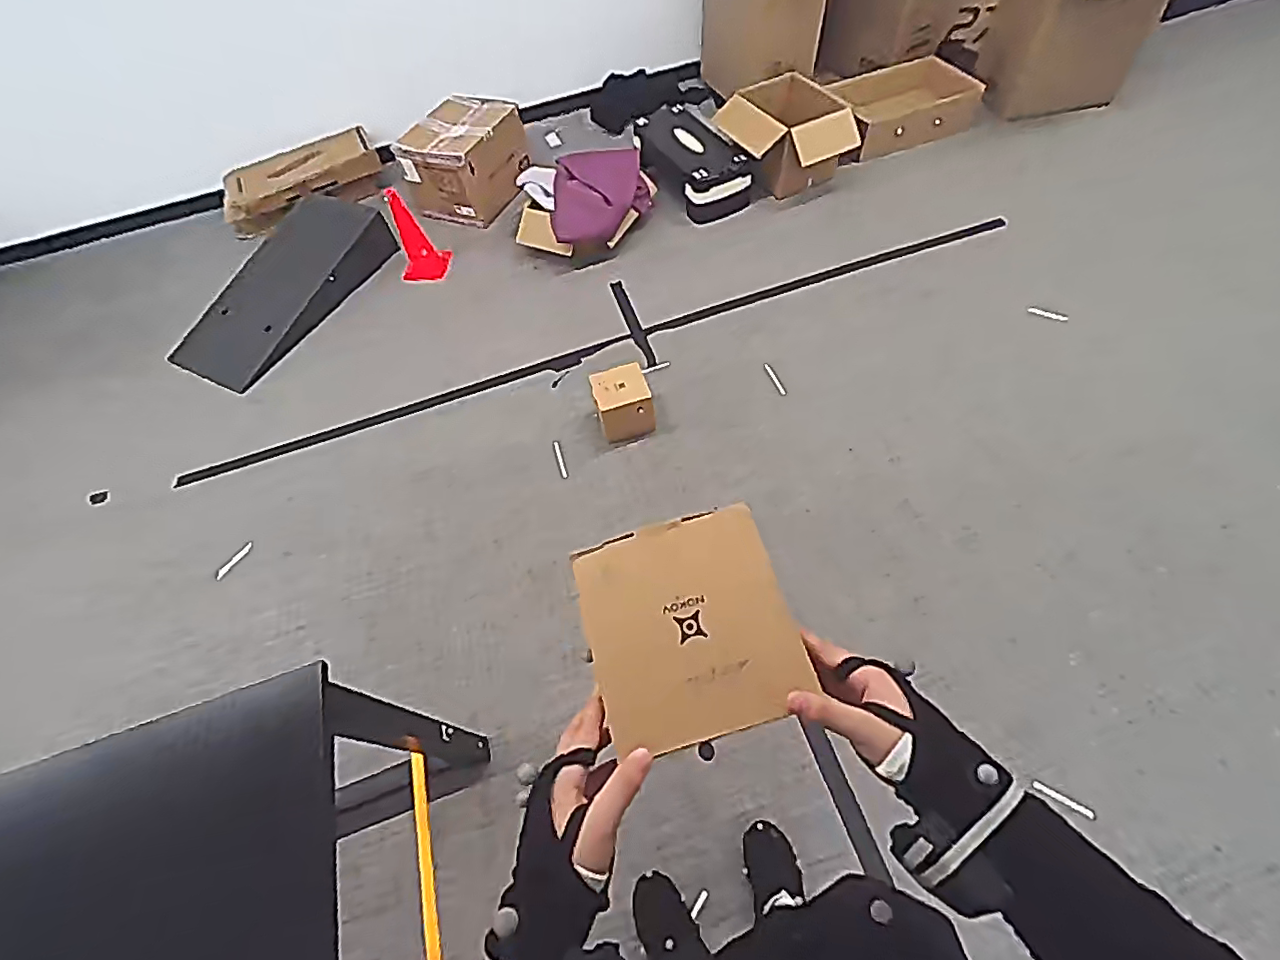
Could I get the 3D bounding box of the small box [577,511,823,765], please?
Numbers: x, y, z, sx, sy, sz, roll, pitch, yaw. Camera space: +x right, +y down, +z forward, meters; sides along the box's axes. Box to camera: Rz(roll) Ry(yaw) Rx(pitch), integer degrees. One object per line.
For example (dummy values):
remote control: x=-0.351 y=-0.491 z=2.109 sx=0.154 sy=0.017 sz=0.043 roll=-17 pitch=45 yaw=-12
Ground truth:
small box: x=0.047 y=0.156 z=0.519 sx=0.168 sy=0.176 sz=0.179 roll=-16 pitch=65 yaw=-3

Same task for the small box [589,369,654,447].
small box: x=-0.057 y=-0.238 z=1.820 sx=0.179 sy=0.176 sz=0.168 roll=-17 pitch=57 yaw=-4
